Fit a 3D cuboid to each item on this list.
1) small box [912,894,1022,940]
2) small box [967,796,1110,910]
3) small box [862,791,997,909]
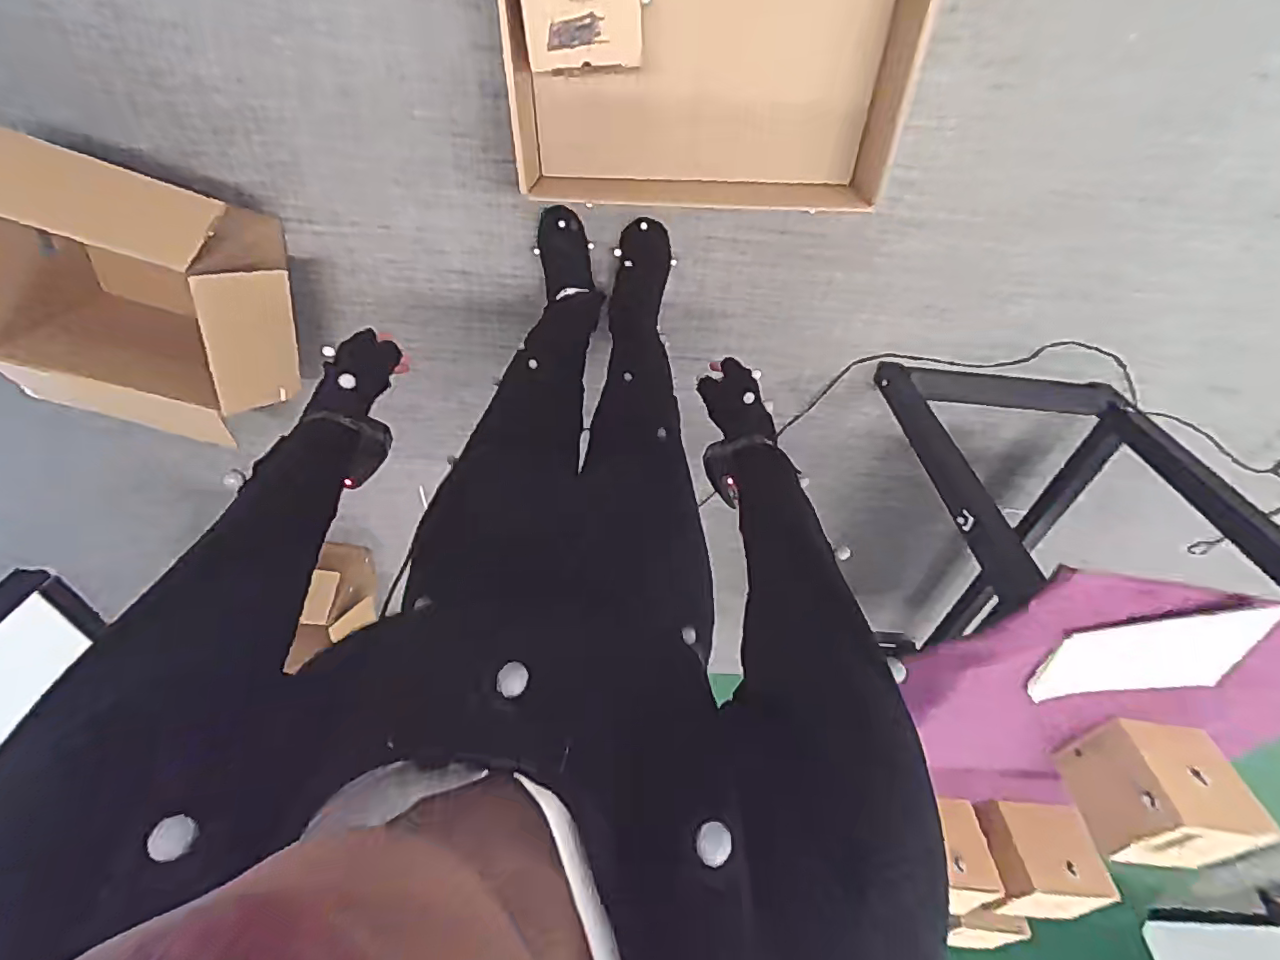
[{"bbox_3d":[0.804,1.043,1.374,0.179,0.176,0.168,9,130,-6],"label":"small box"},{"bbox_3d":[0.836,0.807,1.171,0.179,0.176,0.168,6,130,-3],"label":"small box"},{"bbox_3d":[0.612,0.799,1.174,0.179,0.176,0.168,8,130,-4],"label":"small box"}]
